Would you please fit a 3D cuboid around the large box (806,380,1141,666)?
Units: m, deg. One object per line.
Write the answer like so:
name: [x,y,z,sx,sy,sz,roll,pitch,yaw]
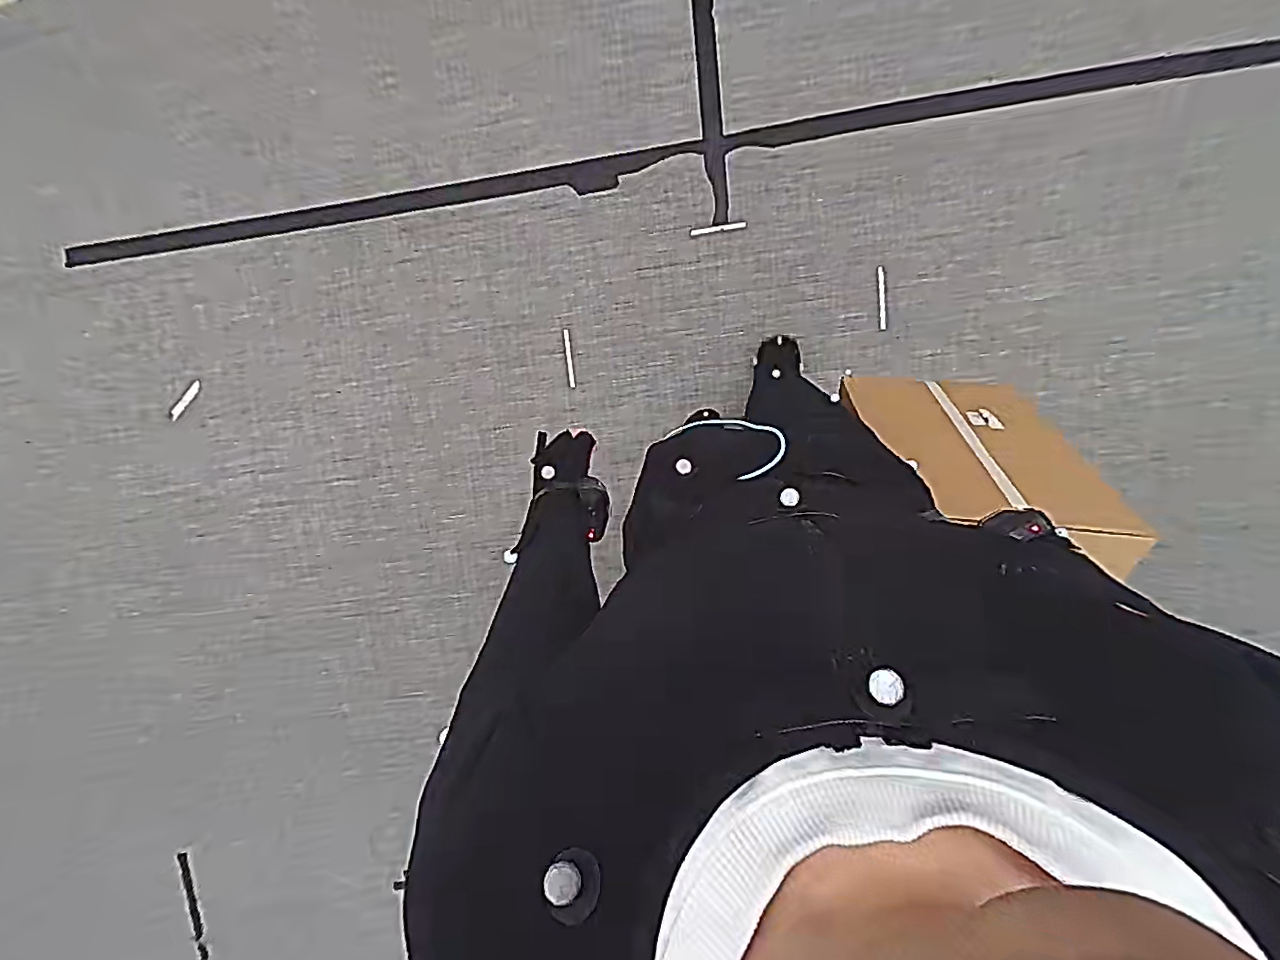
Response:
large box: [0.505,0.060,0.944,0.320,0.408,0.320,5,126,2]
